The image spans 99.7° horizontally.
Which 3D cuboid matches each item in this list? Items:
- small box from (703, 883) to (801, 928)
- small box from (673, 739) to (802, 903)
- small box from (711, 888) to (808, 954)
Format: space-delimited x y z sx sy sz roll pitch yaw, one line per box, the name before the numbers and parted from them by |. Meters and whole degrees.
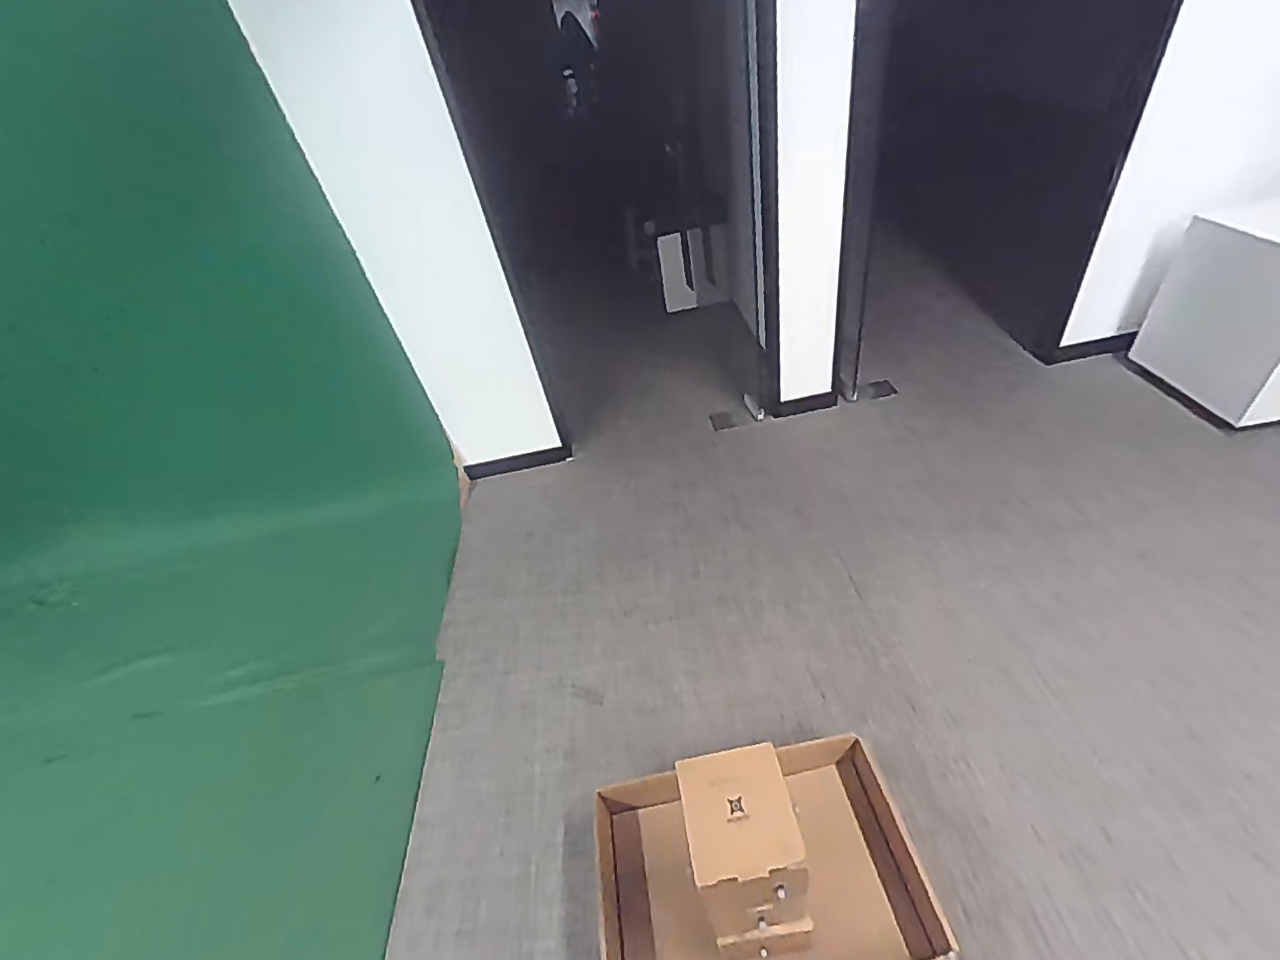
small box | 0.190 0.695 0.999 0.168 0.176 0.179 -15 39 0
small box | 0.157 0.560 0.882 0.168 0.176 0.179 -12 38 1
small box | 0.227 0.824 1.087 0.179 0.176 0.168 -12 39 4
